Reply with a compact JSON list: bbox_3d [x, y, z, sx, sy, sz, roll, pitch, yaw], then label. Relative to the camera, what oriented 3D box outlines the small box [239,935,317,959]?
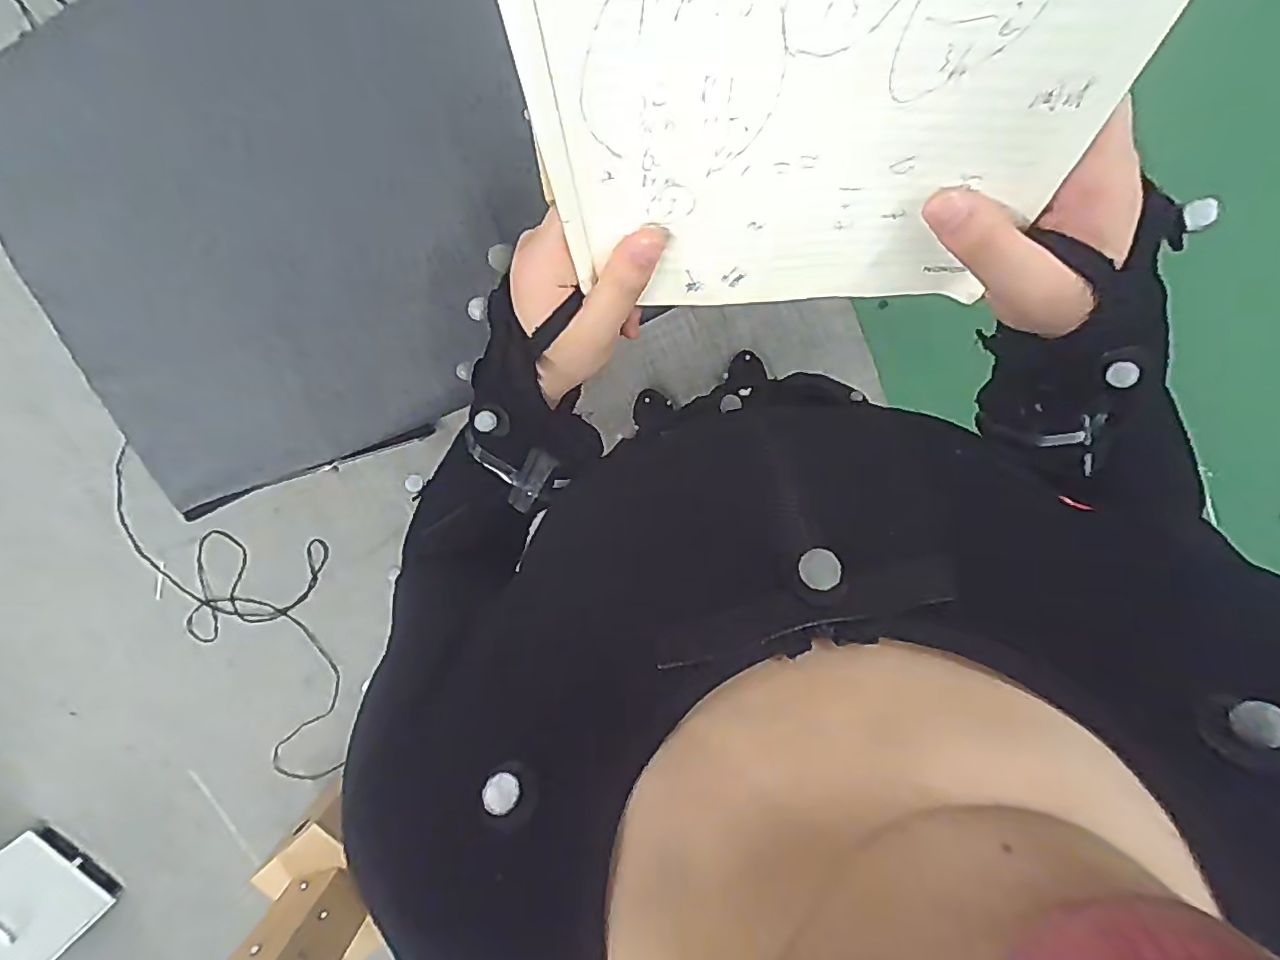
[{"bbox_3d":[-0.889,1.233,1.277,0.179,0.176,0.168,-21,100,10],"label":"small box"}]

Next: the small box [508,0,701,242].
[{"bbox_3d":[-0.027,-0.386,0.597,0.168,0.176,0.179,-8,101,7],"label":"small box"}]
